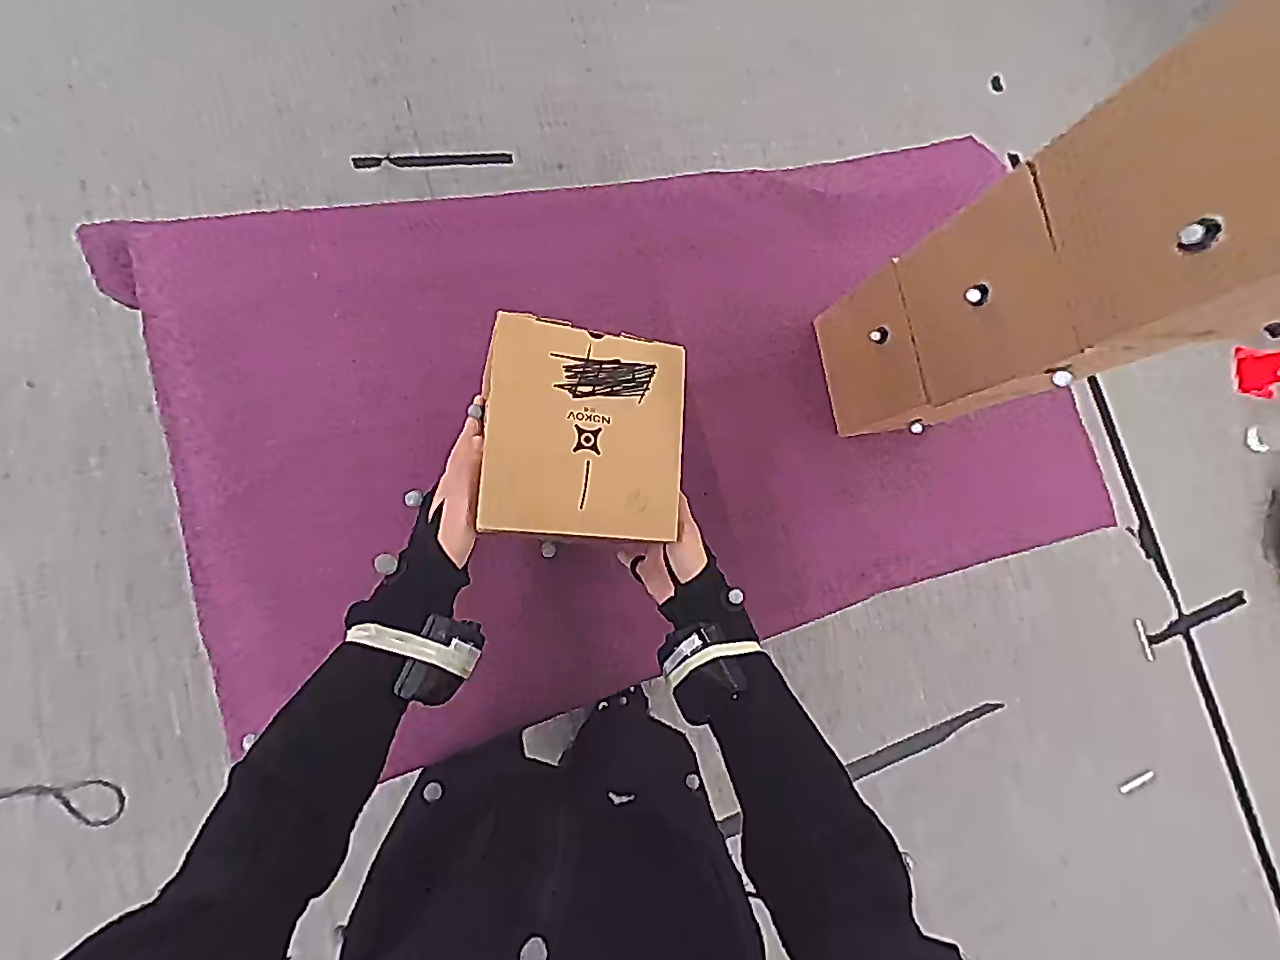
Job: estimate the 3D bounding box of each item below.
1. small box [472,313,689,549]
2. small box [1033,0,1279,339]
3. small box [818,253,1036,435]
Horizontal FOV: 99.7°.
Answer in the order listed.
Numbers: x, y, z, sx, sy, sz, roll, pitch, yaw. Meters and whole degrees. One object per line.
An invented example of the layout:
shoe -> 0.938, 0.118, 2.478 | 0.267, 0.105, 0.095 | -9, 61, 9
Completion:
small box -> -0.065, -0.028, 0.513 | 0.168, 0.176, 0.179 | 6, 81, -18
small box -> 0.435, -0.210, 0.389 | 0.168, 0.176, 0.179 | -7, 82, -16
small box -> 0.356, -0.169, 0.703 | 0.168, 0.176, 0.179 | -9, 84, -15
